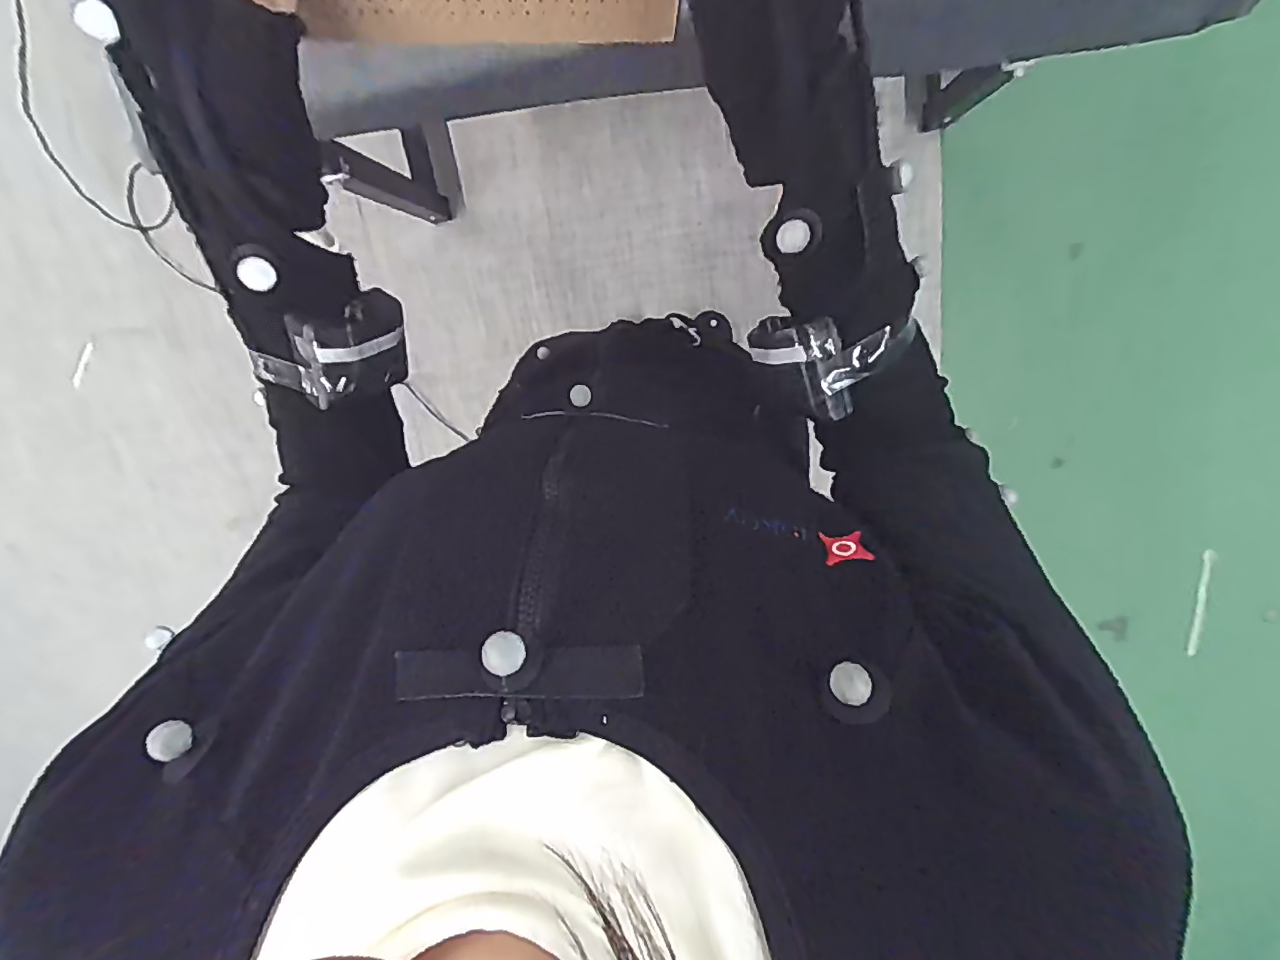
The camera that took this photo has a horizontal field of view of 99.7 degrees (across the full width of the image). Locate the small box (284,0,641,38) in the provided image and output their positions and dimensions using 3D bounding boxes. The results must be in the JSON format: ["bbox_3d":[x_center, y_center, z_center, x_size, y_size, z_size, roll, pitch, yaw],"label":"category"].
[{"bbox_3d":[-0.071,-0.284,0.170,0.179,0.176,0.168,-2,92,-1],"label":"small box"}]
